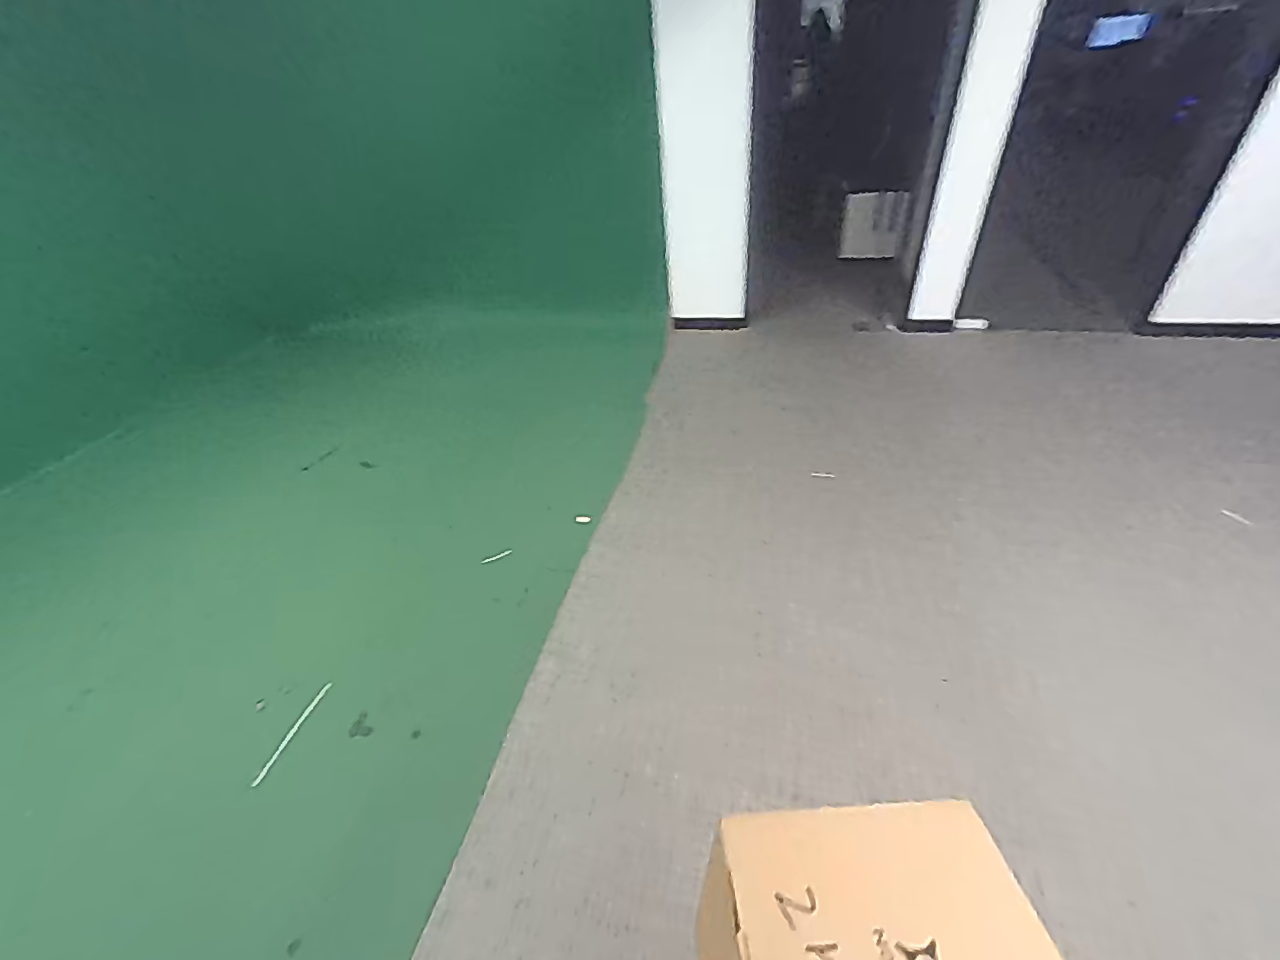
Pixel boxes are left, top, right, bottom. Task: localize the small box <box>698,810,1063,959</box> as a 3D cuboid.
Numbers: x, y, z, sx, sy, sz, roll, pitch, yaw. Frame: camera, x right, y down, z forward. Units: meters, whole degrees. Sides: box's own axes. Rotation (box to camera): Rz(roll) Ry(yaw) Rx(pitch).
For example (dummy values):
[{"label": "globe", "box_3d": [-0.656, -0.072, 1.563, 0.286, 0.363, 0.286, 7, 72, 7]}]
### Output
[{"label": "small box", "box_3d": [0.143, 0.332, 0.331, 0.179, 0.176, 0.168, 2, 30, -6]}]
